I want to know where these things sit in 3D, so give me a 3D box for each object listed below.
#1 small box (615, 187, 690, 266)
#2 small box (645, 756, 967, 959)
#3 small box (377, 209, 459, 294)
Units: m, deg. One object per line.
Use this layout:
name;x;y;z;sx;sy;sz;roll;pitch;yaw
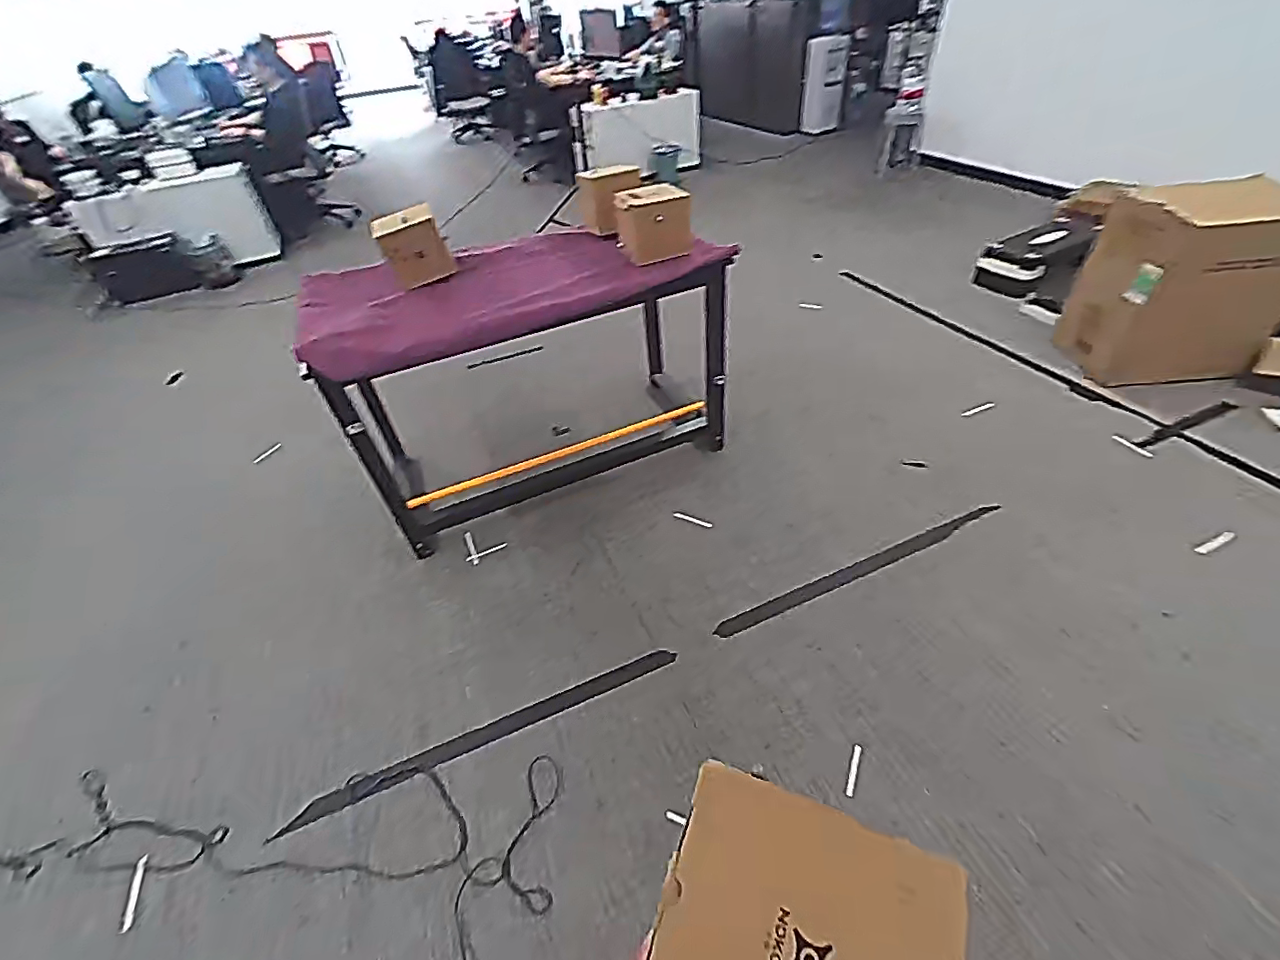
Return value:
small box;0.042;-0.764;1.631;0.179;0.176;0.168;-18;43;-13
small box;0.105;0.325;0.386;0.179;0.176;0.168;13;56;17
small box;-0.674;-0.697;1.636;0.179;0.168;0.176;-23;44;-7
